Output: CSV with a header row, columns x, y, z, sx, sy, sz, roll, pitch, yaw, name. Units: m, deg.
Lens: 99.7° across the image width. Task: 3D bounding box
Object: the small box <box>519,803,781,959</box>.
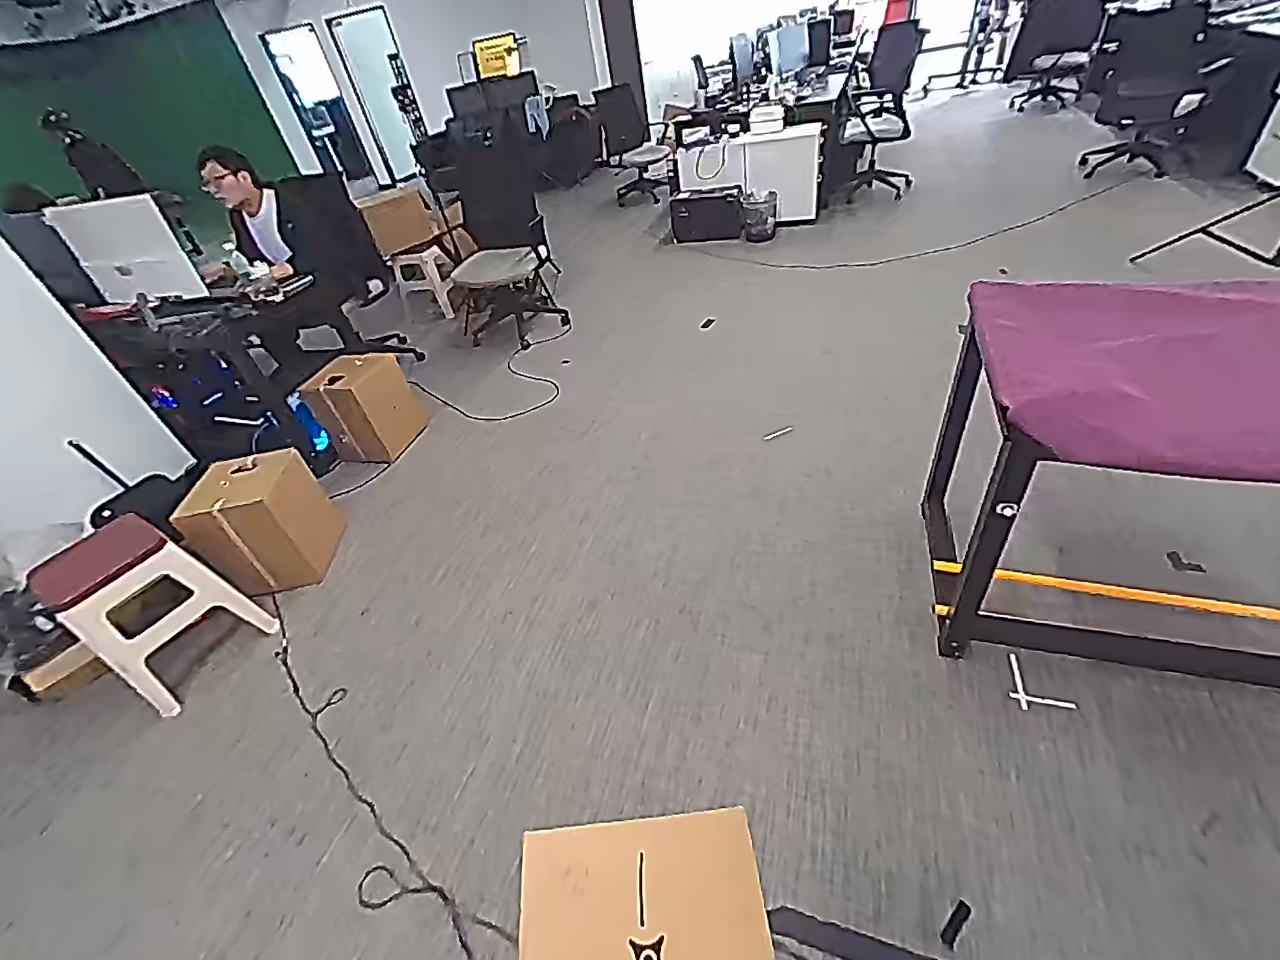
x,y,z,sx,sy,sz,roll,pitch,yaw,name
0.009,0.357,0.389,0.168,0.176,0.179,-5,47,-3,small box
